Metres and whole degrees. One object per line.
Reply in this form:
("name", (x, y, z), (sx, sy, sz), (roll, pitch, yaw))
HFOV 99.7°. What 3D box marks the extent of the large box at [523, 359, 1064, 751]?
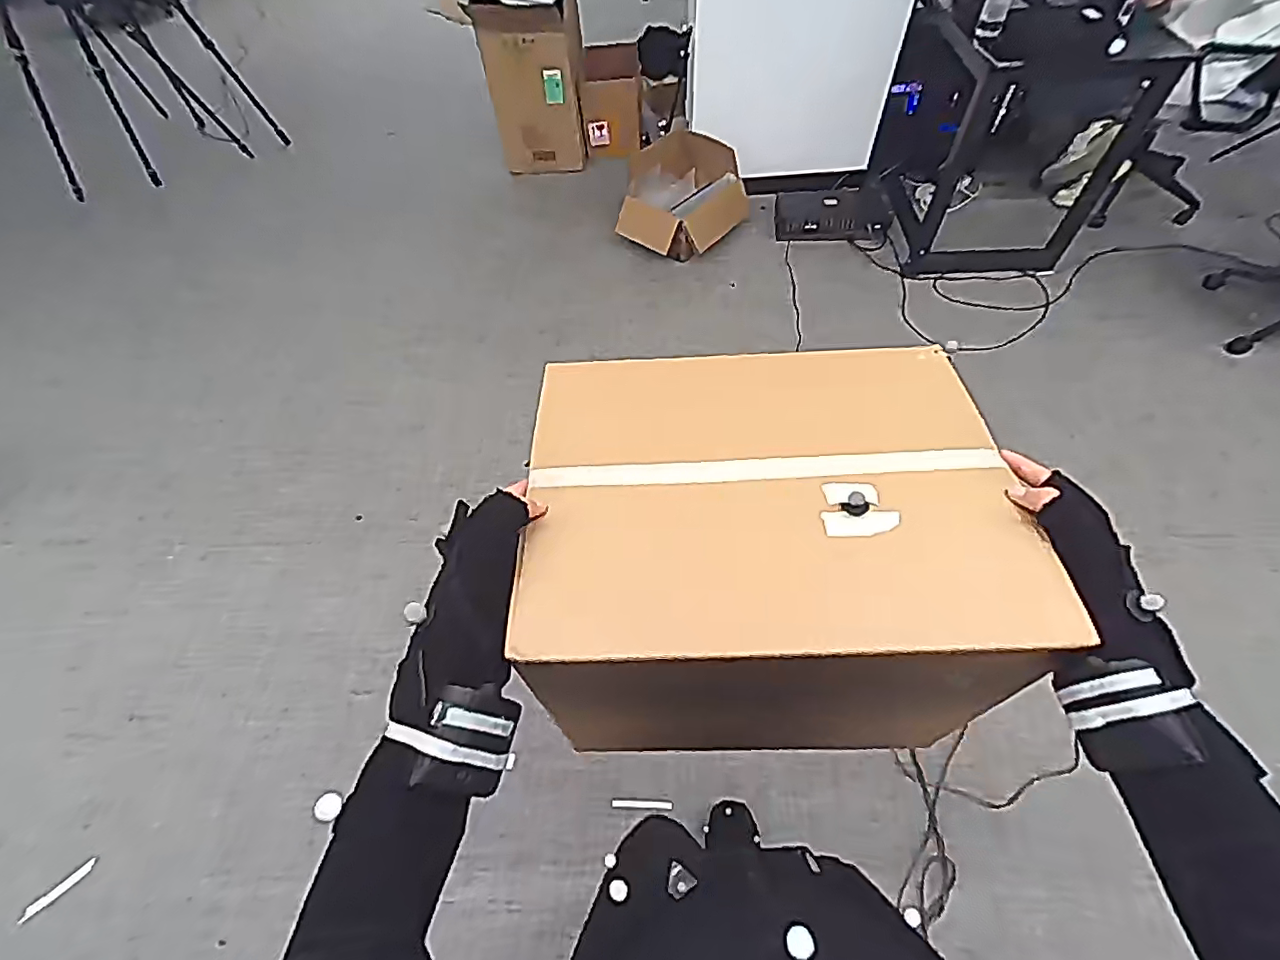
("large box", (0.113, 0.094, 0.599), (0.408, 0.320, 0.320), (-3, 52, 2))
